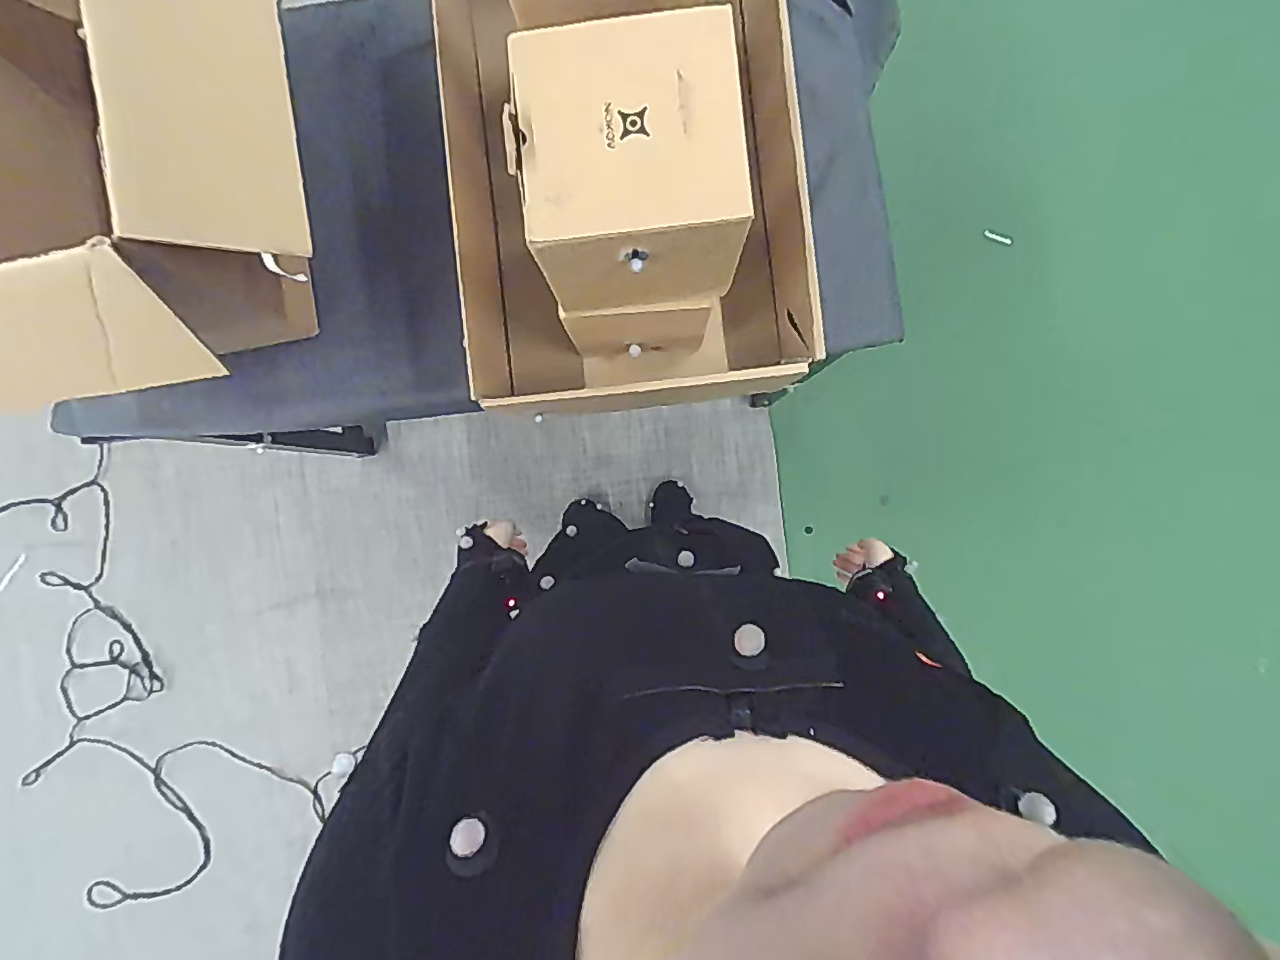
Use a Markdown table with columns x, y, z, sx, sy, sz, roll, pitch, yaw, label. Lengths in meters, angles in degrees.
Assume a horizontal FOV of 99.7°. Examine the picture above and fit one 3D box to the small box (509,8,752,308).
| x | y | z | sx | sy | sz | roll | pitch | yaw | label |
| --- | --- | --- | --- | --- | --- | --- | --- | --- | --- |
| -0.005 | -0.268 | 0.493 | 0.179 | 0.176 | 0.168 | -6 | 90 | 2 | small box |
